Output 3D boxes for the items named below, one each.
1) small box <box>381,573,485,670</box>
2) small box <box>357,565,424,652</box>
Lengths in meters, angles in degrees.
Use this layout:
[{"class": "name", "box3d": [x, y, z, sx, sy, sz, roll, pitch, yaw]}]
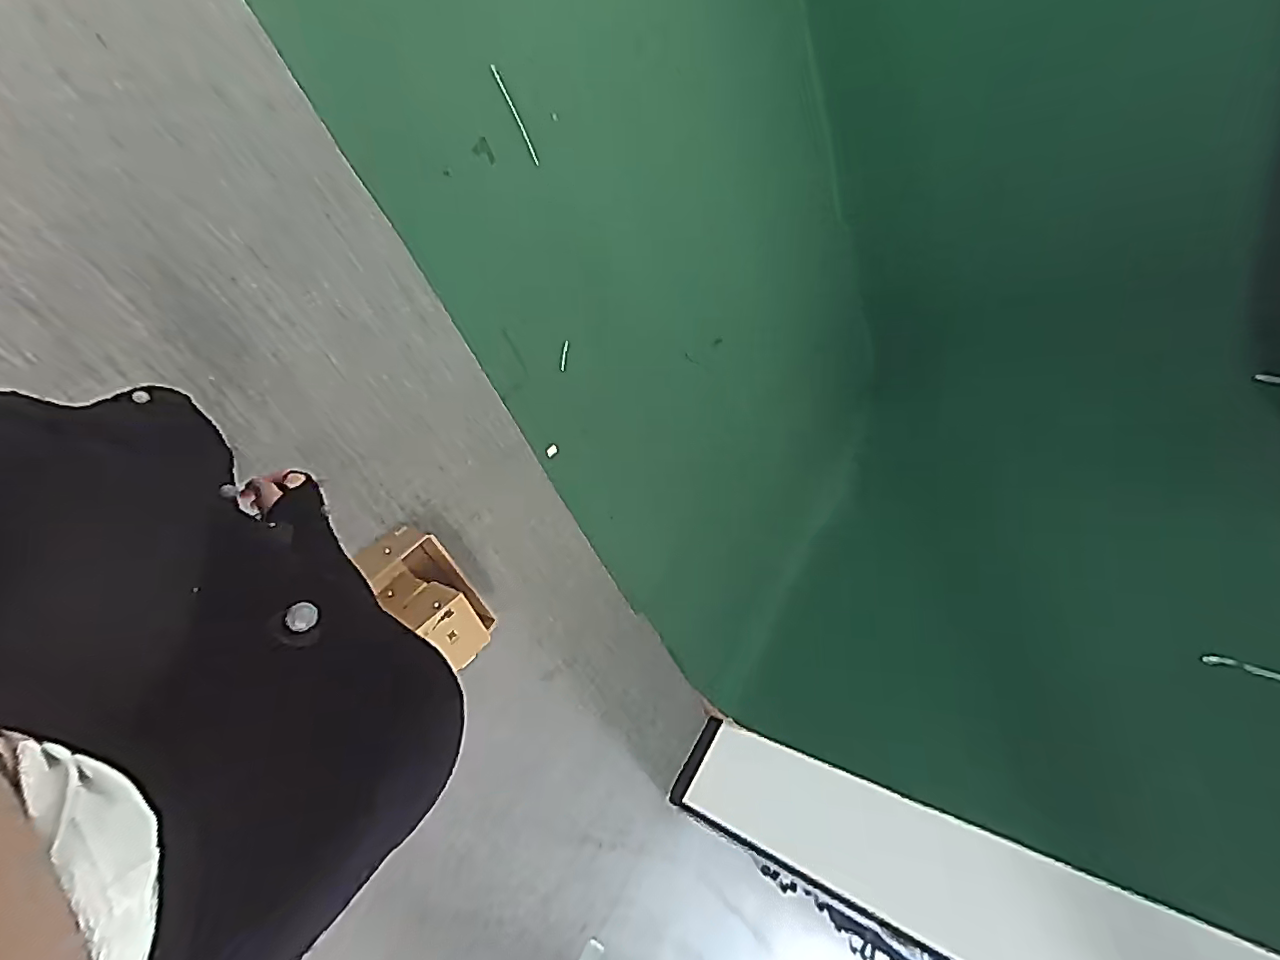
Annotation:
[{"class": "small box", "box3d": [-0.563, 0.377, 1.473, 0.168, 0.176, 0.179, -43, 124, -36]}, {"class": "small box", "box3d": [-0.687, 0.368, 1.581, 0.168, 0.176, 0.179, -48, 126, -31]}]
